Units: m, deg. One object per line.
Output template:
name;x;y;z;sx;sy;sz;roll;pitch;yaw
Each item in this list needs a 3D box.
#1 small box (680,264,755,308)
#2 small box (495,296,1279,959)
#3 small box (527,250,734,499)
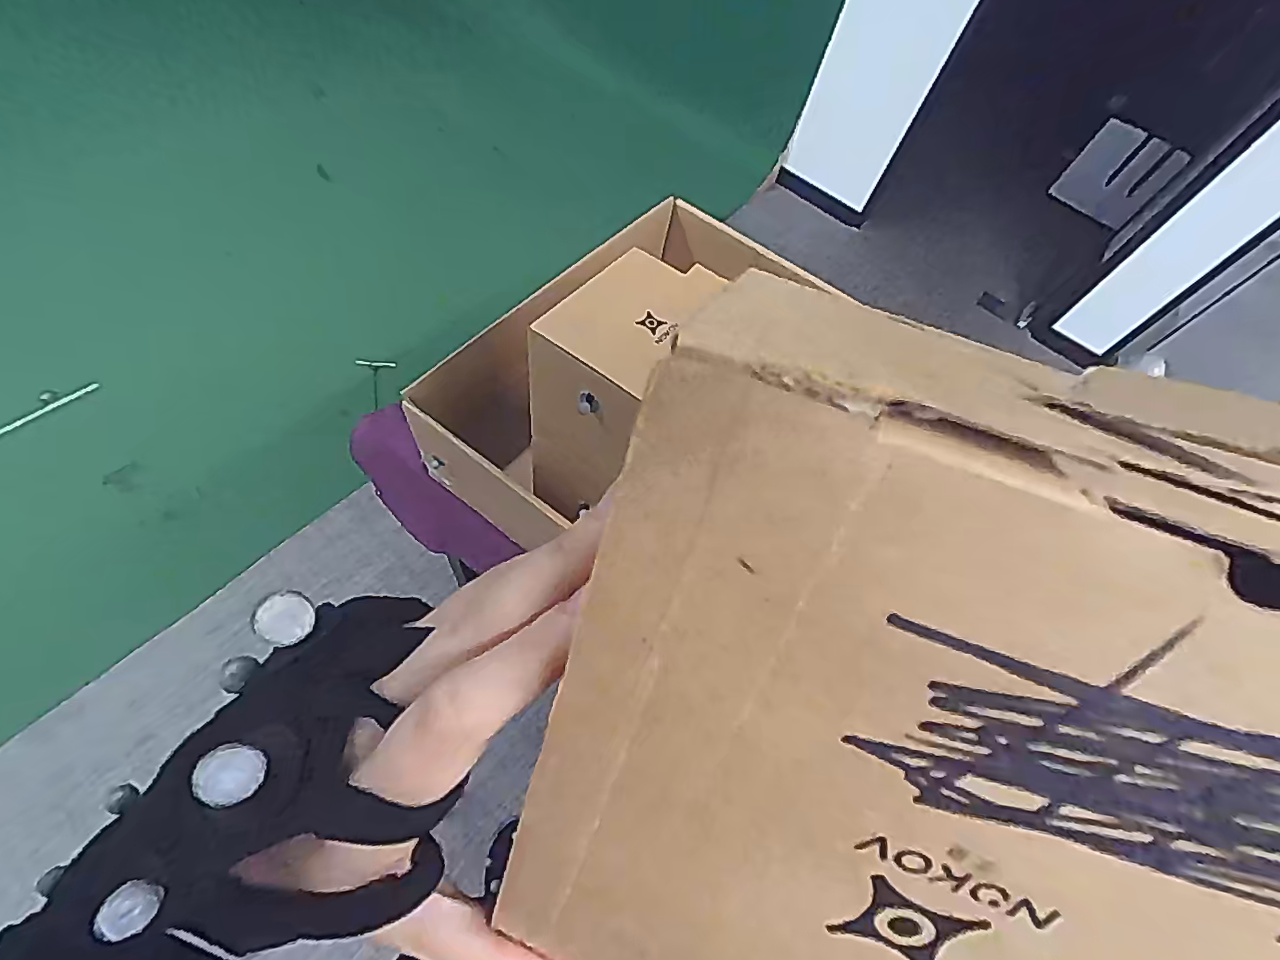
small box;0.091;-0.189;0.836;0.168;0.176;0.179;33;60;10
small box;0.075;0.050;0.183;0.168;0.179;0.176;20;28;6
small box;0.000;-0.099;0.573;0.179;0.176;0.168;36;61;11
